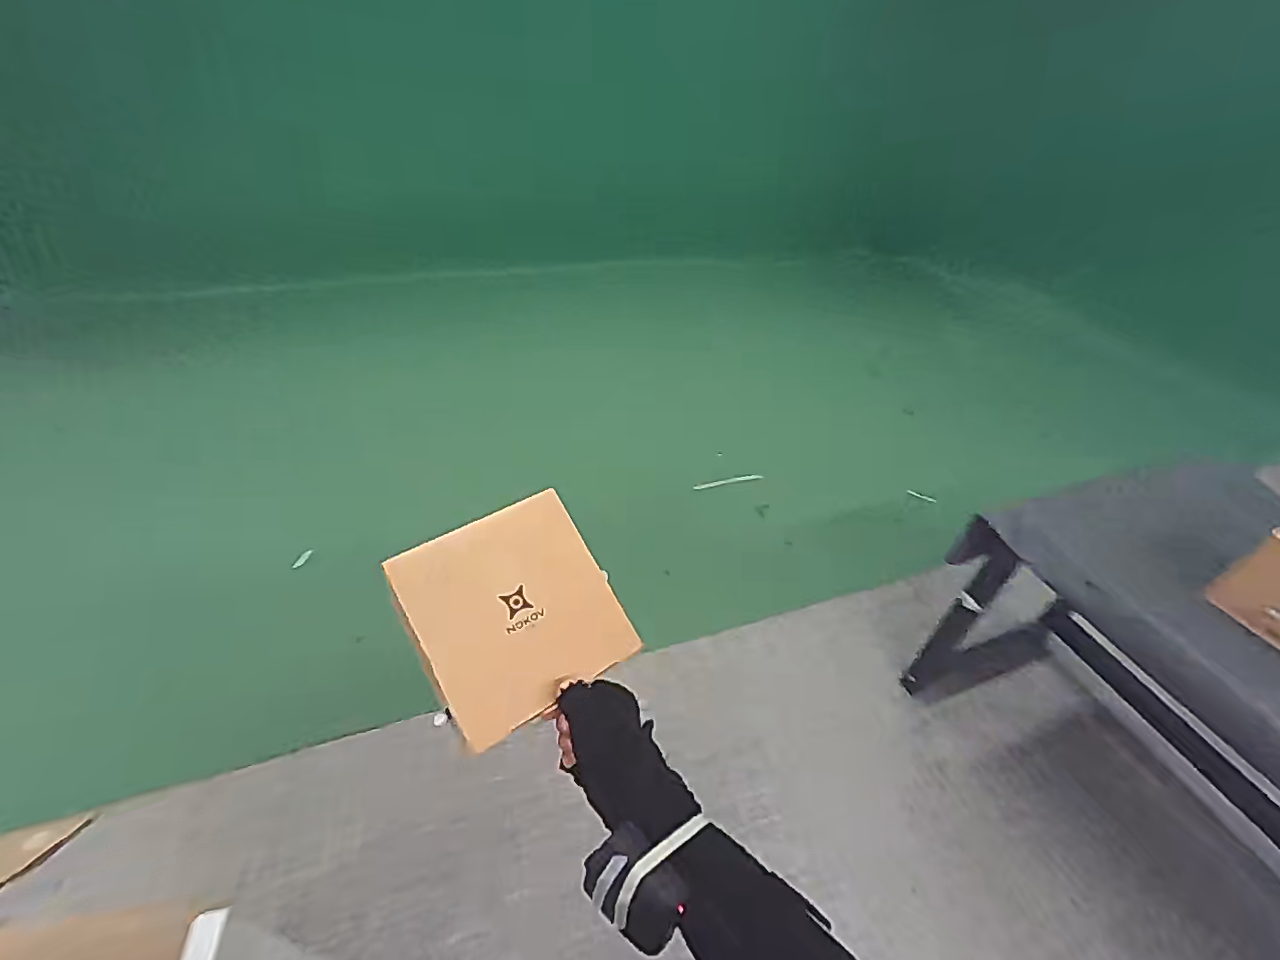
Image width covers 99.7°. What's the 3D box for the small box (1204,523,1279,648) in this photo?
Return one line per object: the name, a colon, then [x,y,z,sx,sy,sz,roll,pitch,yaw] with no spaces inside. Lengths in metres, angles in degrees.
small box: [1.155,0.174,0.934,0.179,0.176,0.168,-15,44,-20]
